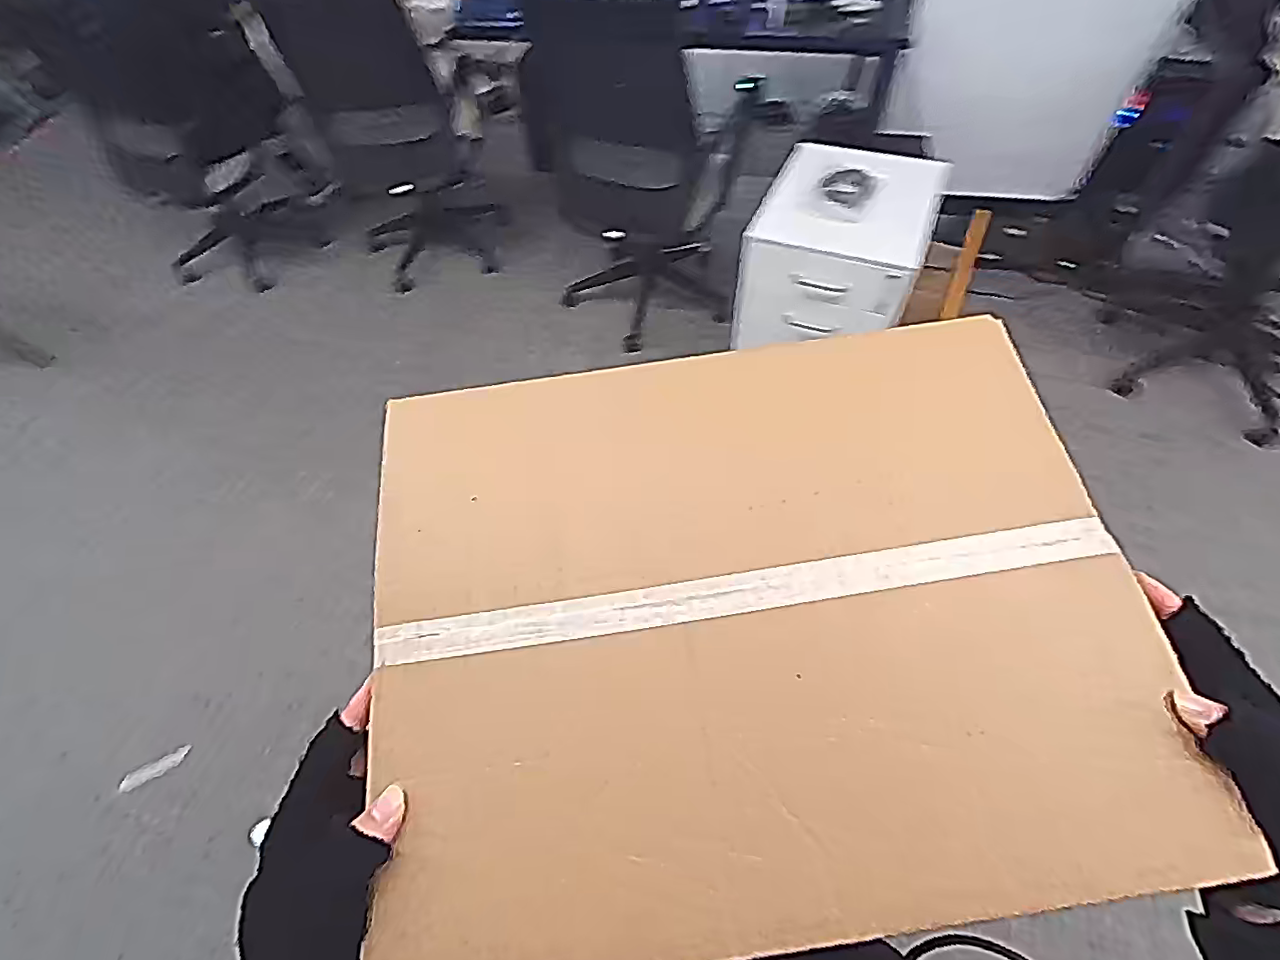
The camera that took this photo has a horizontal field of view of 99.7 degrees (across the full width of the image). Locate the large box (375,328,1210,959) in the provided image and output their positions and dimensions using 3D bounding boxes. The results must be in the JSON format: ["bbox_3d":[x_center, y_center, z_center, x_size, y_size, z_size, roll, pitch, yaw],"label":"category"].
[{"bbox_3d":[0.059,0.126,0.441,0.408,0.320,0.320,-10,67,-1],"label":"large box"}]
